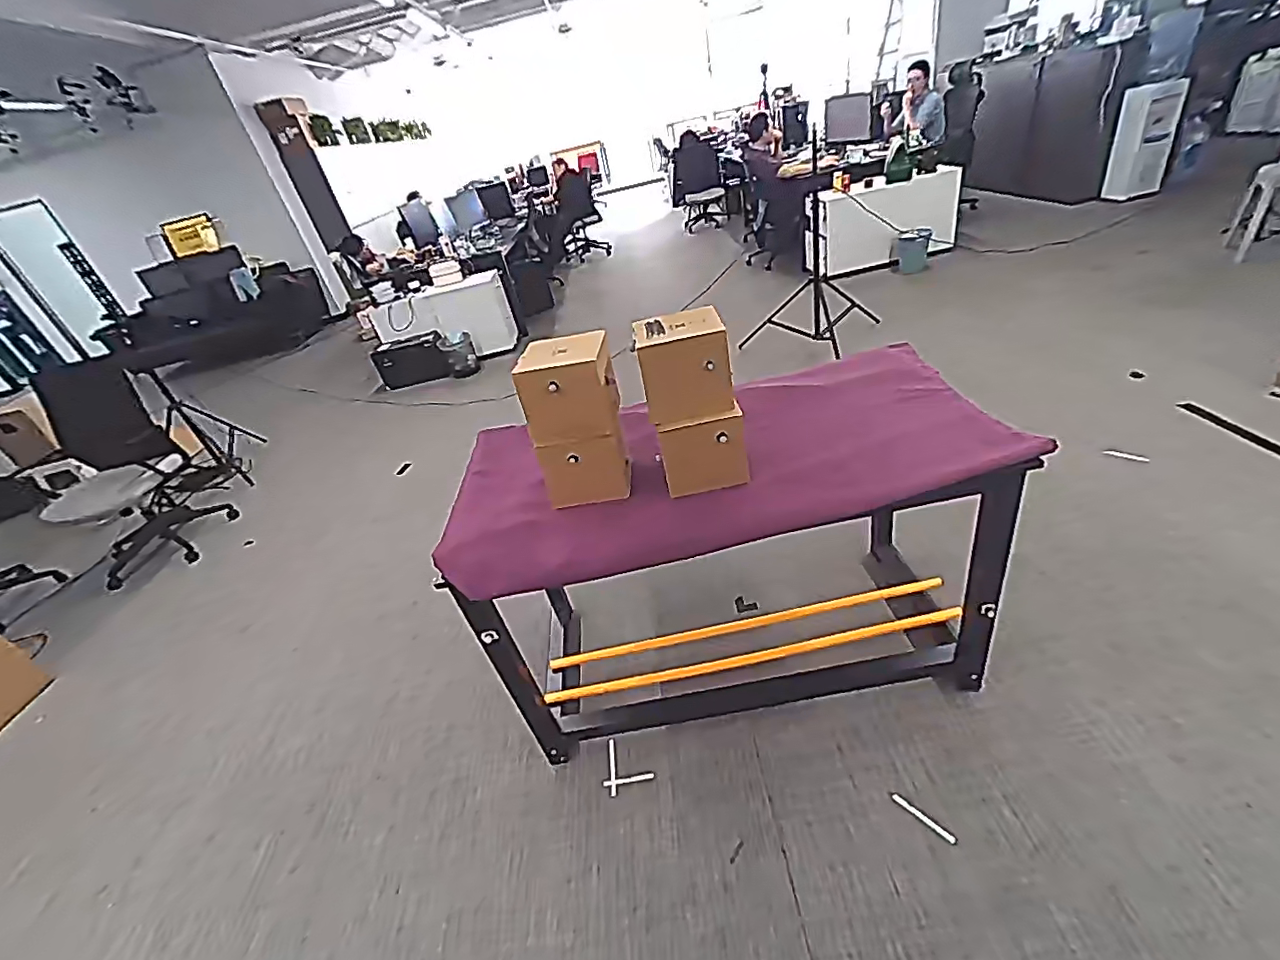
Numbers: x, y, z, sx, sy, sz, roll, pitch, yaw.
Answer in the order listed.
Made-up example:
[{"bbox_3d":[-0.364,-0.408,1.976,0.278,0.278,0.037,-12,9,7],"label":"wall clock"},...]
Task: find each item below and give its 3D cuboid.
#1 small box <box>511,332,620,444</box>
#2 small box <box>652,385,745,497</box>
[{"bbox_3d":[-0.147,-0.194,1.148,0.179,0.176,0.168,-7,34,10],"label":"small box"},{"bbox_3d":[0.129,-0.086,1.185,0.179,0.176,0.168,-12,32,4],"label":"small box"}]
